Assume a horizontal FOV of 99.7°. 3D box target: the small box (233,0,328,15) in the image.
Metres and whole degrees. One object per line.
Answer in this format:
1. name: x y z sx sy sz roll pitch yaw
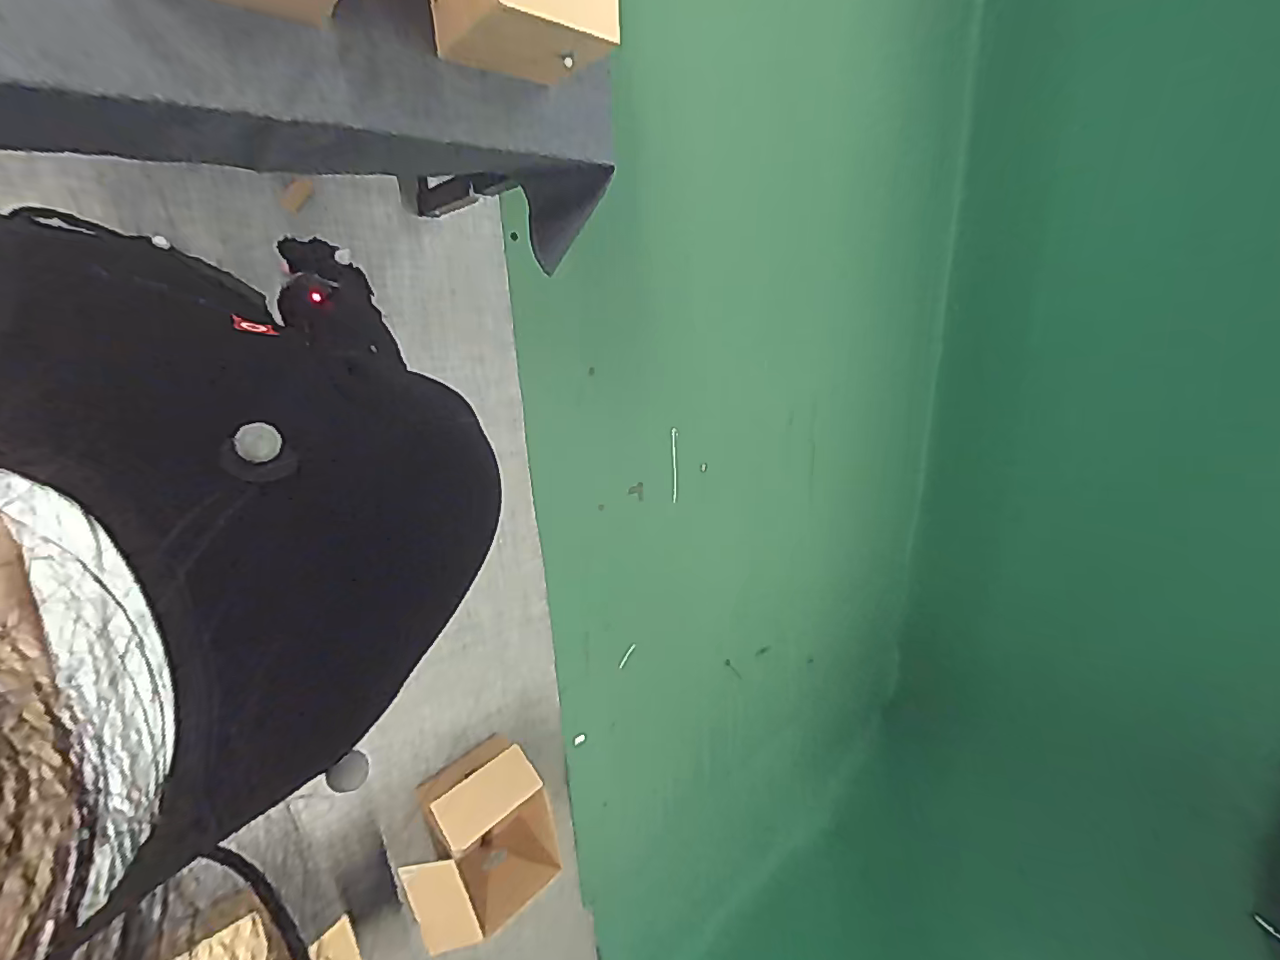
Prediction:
1. small box: -0.376 -0.560 0.481 0.179 0.176 0.168 -17 112 -38
